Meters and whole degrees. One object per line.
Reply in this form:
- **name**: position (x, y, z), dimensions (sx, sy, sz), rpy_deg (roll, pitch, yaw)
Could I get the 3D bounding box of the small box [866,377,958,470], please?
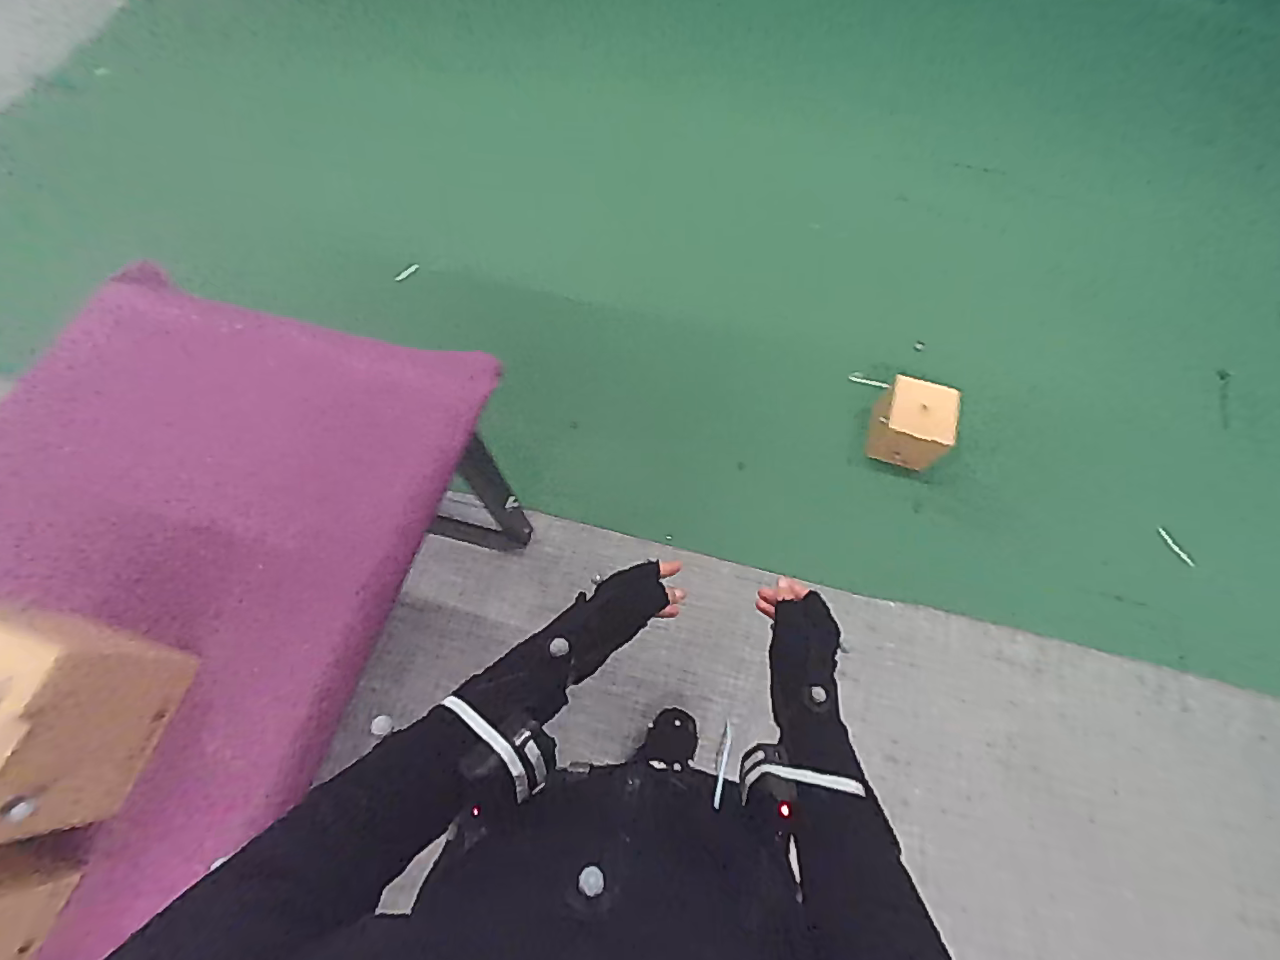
- **small box**: position (0.750, -0.152, 1.502), dimensions (0.168, 0.176, 0.179), rpy_deg (16, 69, 6)
